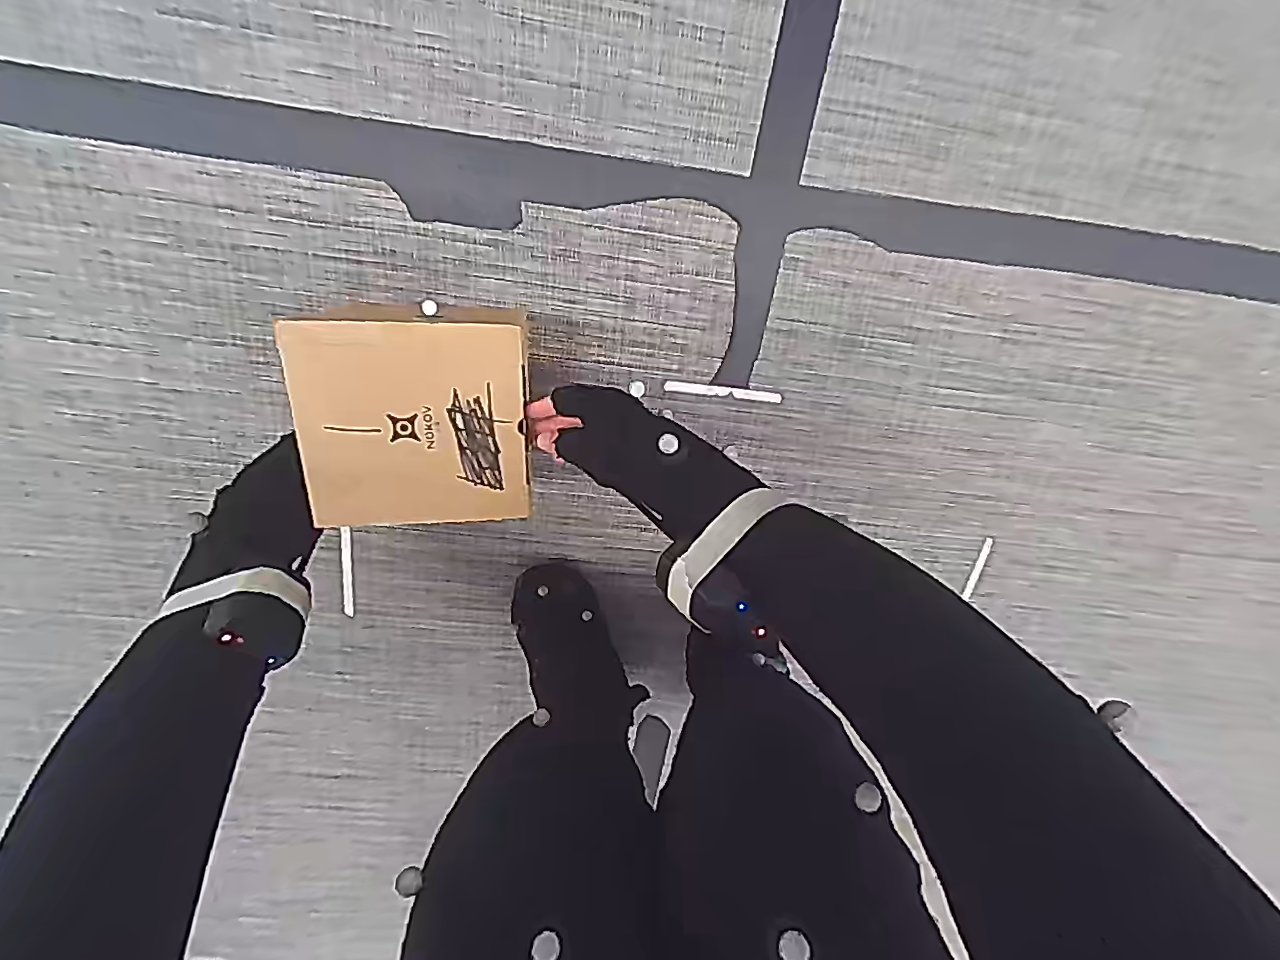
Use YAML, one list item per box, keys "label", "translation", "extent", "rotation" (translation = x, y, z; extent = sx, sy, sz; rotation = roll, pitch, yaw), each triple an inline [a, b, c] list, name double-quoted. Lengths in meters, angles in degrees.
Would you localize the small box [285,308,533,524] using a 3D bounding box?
- label: "small box"
  translation: [-0.191, -0.069, 0.509]
  extent: [0.179, 0.176, 0.168]
  rotation: [0, 111, -9]
